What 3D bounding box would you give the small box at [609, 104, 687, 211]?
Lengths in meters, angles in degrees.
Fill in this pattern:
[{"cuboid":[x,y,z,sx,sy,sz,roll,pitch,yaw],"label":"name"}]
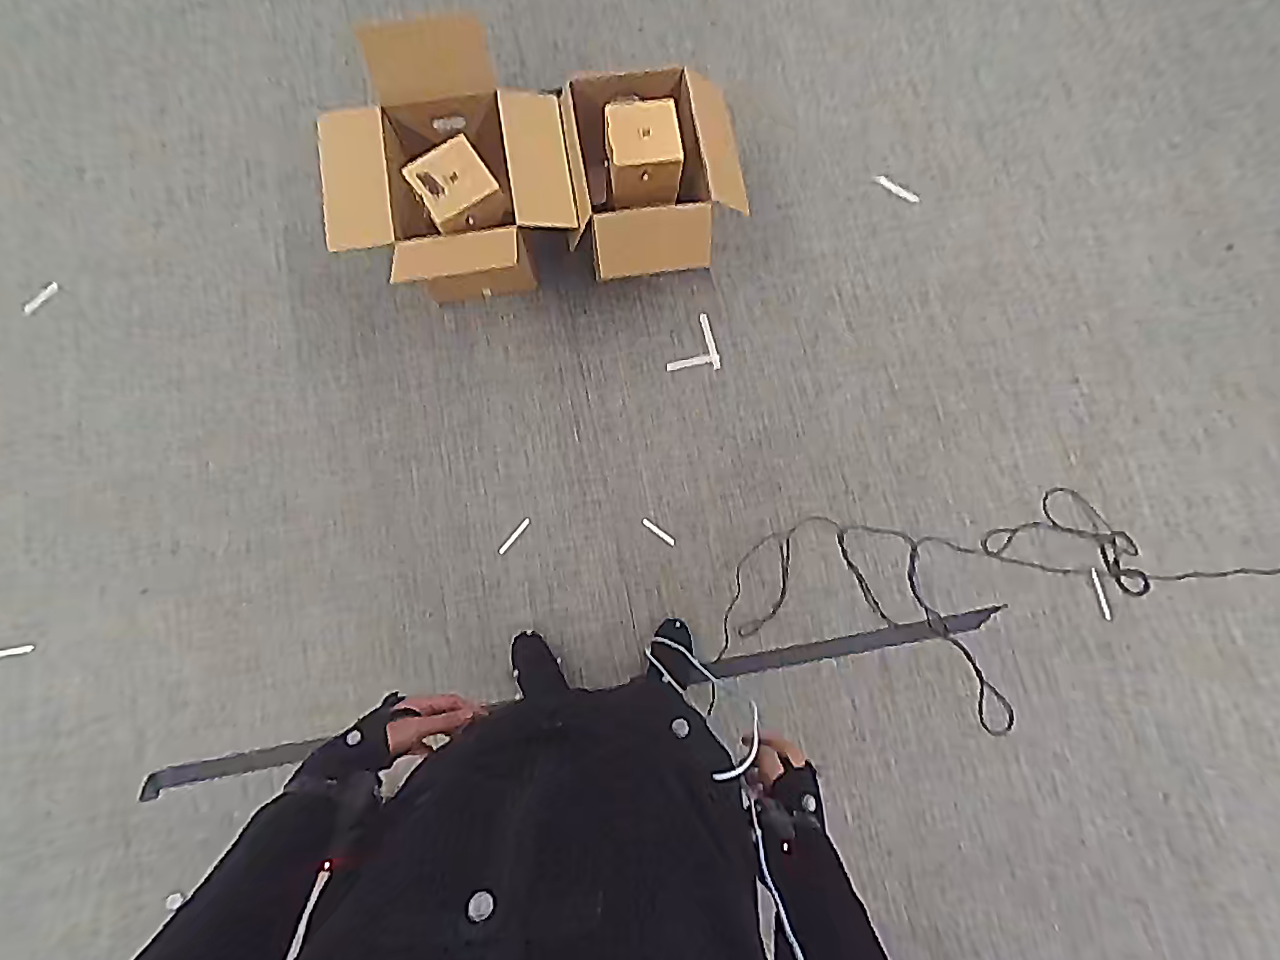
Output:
[{"cuboid":[0.015,-0.831,1.406,0.179,0.176,0.168,-8,82,-3],"label":"small box"}]
